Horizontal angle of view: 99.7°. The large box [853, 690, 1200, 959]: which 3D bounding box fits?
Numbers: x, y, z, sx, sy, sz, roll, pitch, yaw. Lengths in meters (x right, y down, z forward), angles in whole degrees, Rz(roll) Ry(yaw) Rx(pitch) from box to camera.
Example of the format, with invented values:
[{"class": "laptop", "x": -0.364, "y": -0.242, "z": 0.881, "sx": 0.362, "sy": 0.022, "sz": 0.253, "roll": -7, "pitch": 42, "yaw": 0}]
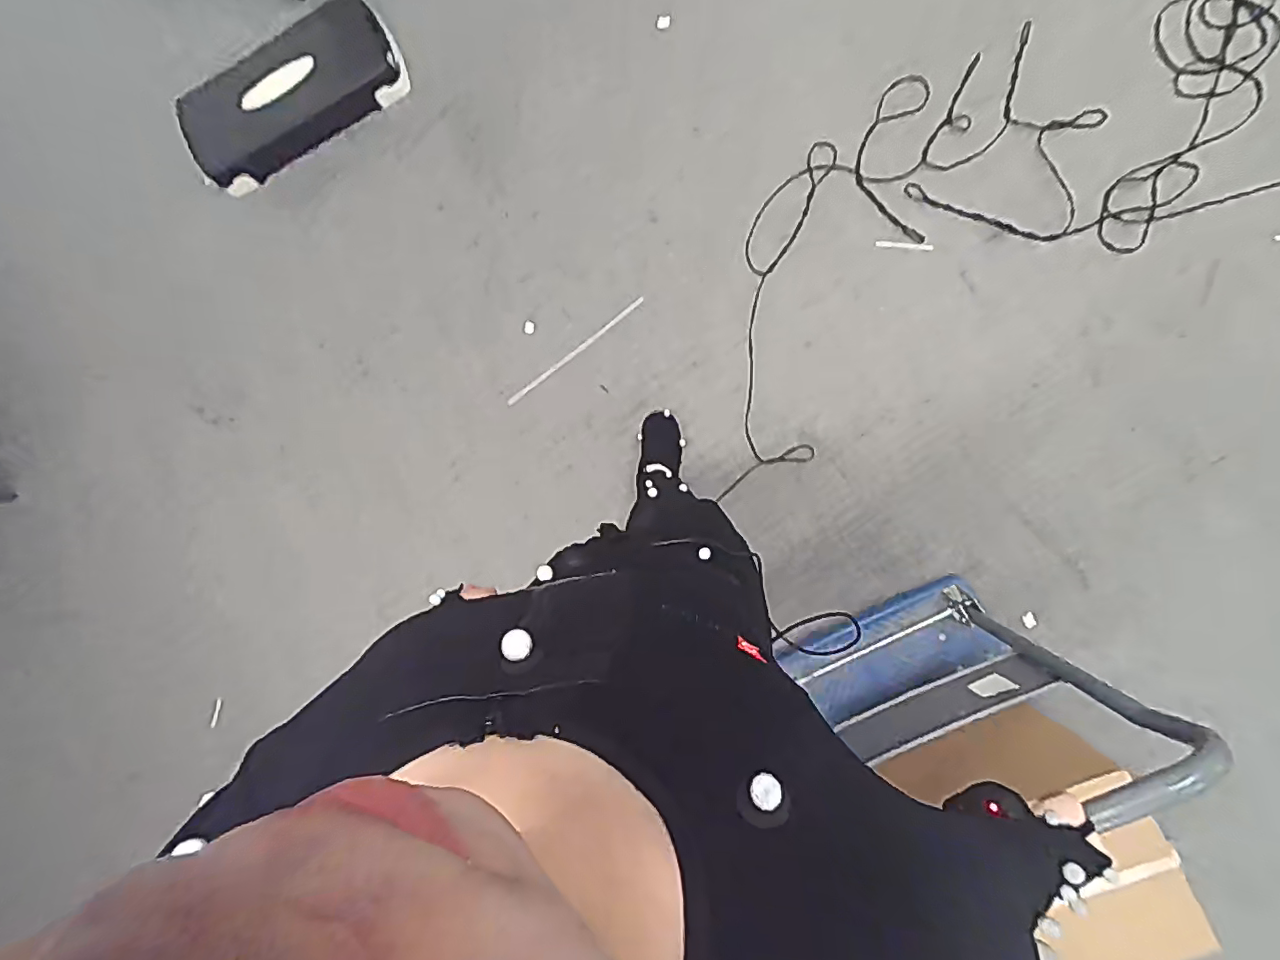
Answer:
[{"class": "large box", "x": 0.705, "y": 0.683, "z": 1.069, "sx": 0.408, "sy": 0.320, "sz": 0.320, "roll": -26, "pitch": 85, "yaw": 8}]
